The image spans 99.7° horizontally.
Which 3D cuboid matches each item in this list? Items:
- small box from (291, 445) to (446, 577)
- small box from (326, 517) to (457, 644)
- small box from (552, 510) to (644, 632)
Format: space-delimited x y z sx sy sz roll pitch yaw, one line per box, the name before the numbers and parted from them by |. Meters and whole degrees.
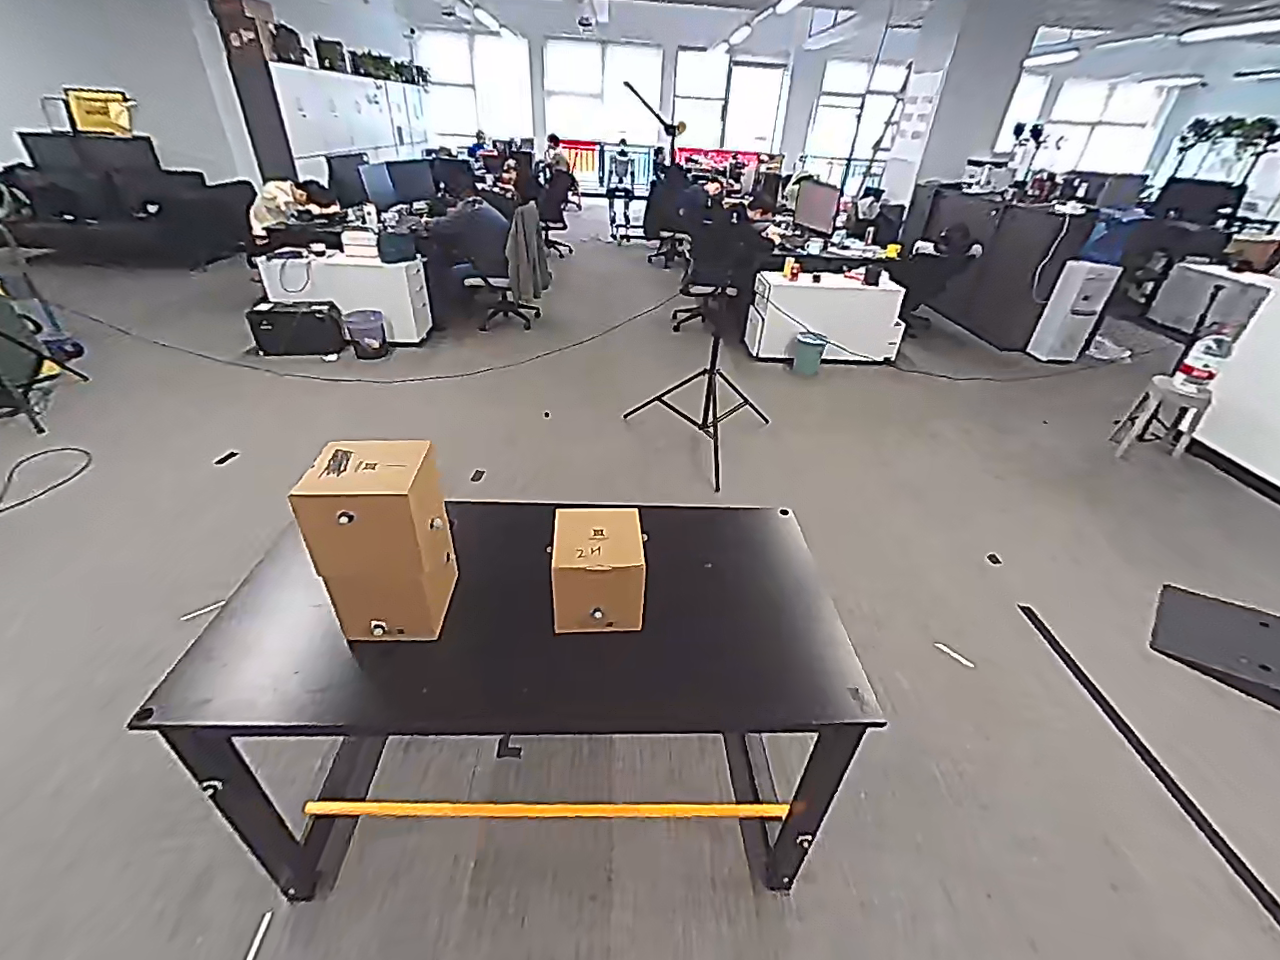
small box | -0.449 0.053 0.926 0.179 0.176 0.168 -1 33 -6
small box | -0.453 0.187 1.022 0.168 0.176 0.179 -1 34 -4
small box | -0.083 0.176 1.063 0.168 0.176 0.179 -1 33 -5
